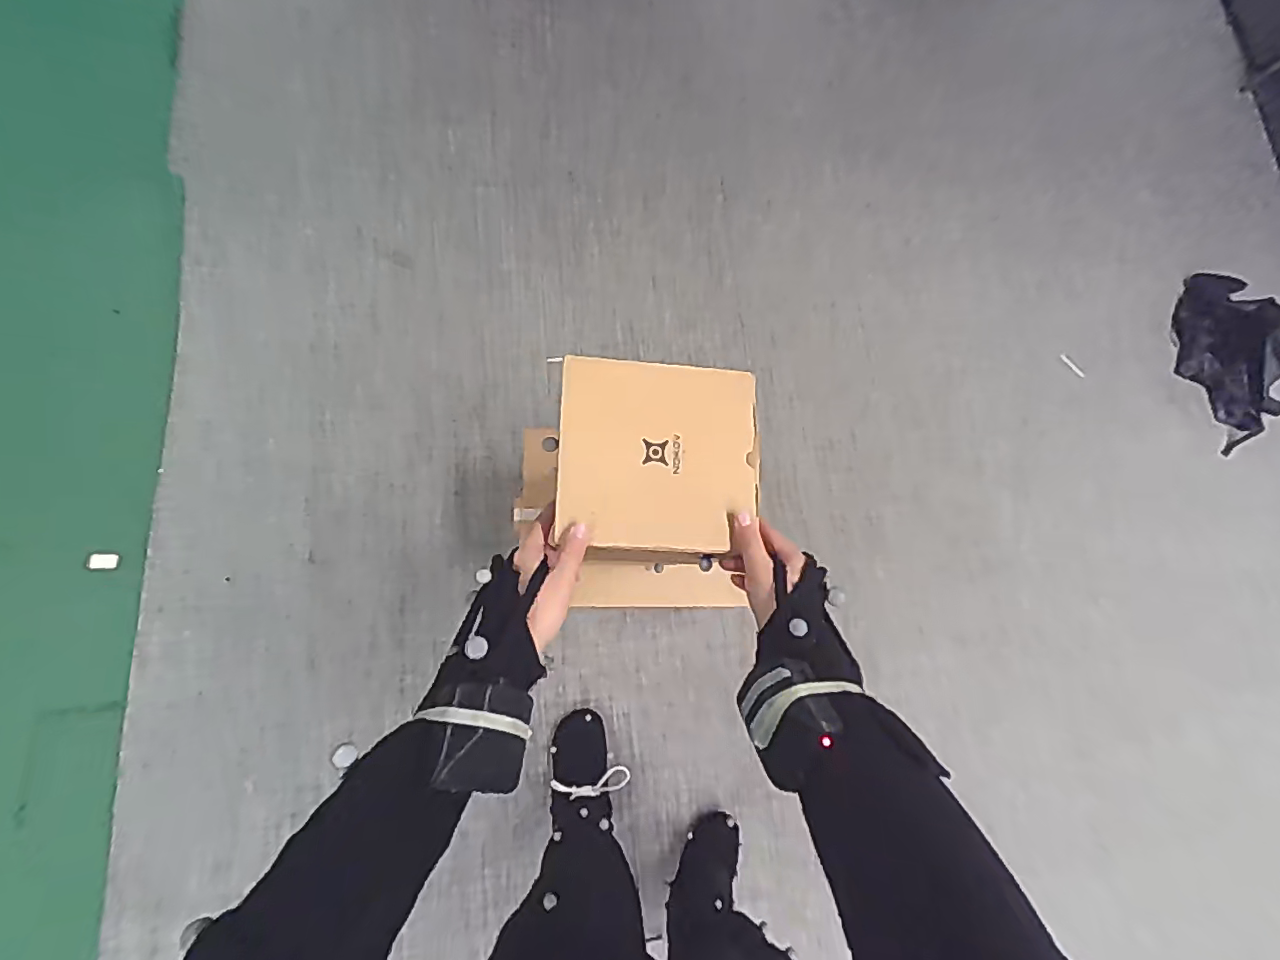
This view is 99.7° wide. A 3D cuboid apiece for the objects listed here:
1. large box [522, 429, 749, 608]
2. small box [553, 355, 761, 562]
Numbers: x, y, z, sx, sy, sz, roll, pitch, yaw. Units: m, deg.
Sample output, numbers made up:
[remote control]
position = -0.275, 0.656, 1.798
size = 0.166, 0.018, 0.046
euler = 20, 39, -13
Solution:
[large box]
position = -0.030, 0.095, 1.099
size = 0.408, 0.320, 0.320
euler = 2, 78, -9
[small box]
position = 0.005, -0.007, 0.537
size = 0.179, 0.176, 0.168
euler = 3, 78, -10
